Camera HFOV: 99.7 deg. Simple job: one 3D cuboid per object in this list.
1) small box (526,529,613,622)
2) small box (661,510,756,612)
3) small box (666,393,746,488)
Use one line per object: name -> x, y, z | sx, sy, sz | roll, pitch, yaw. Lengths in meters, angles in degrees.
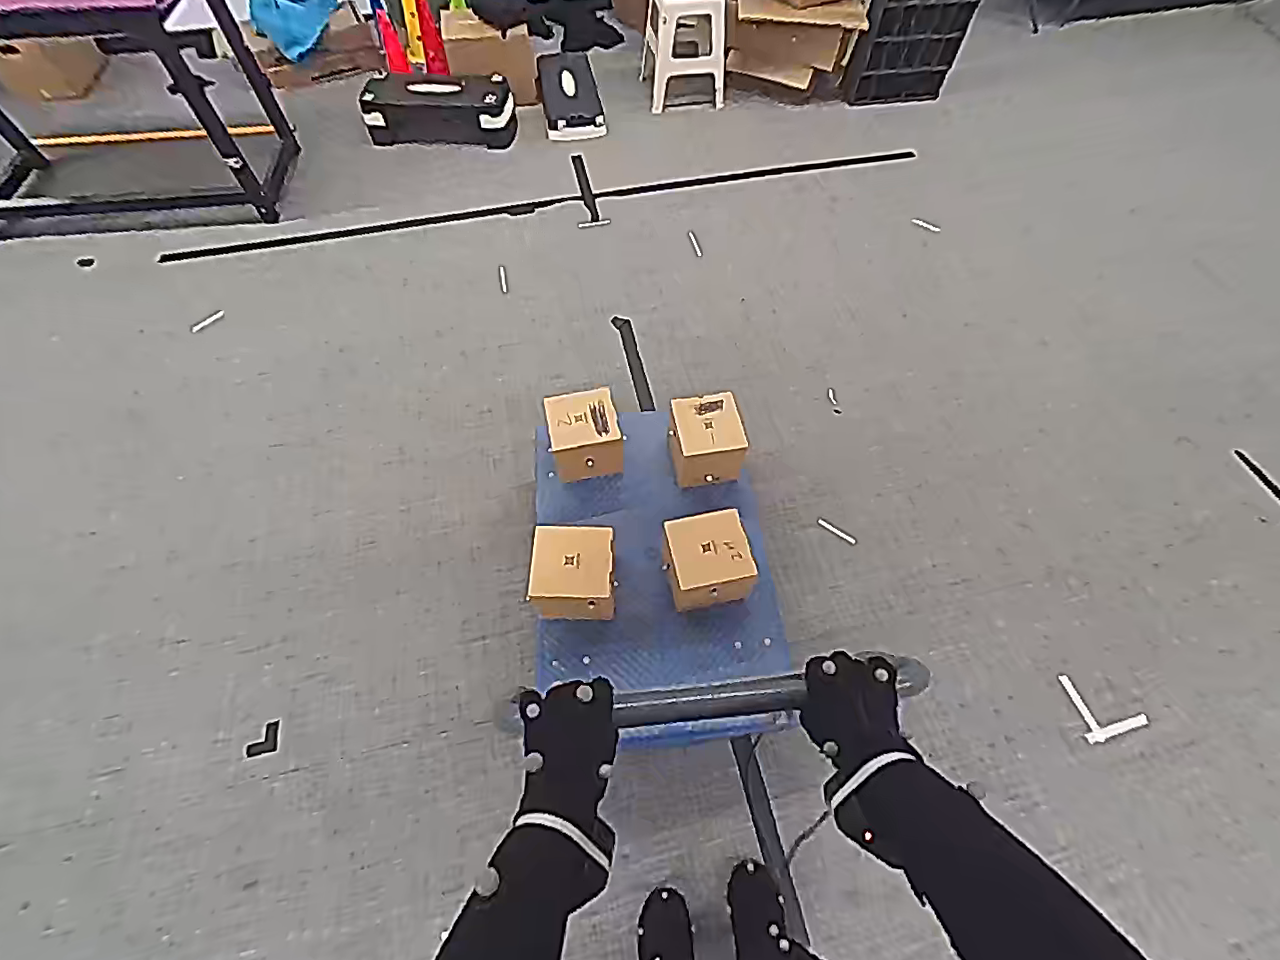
small box -> -0.153, 0.222, 1.237 | 0.179, 0.176, 0.168 | 1, 60, -2
small box -> 0.150, 0.193, 1.254 | 0.179, 0.176, 0.168 | -11, 61, -6
small box -> 0.165, -0.101, 1.420 | 0.168, 0.176, 0.179 | -9, 62, -5
